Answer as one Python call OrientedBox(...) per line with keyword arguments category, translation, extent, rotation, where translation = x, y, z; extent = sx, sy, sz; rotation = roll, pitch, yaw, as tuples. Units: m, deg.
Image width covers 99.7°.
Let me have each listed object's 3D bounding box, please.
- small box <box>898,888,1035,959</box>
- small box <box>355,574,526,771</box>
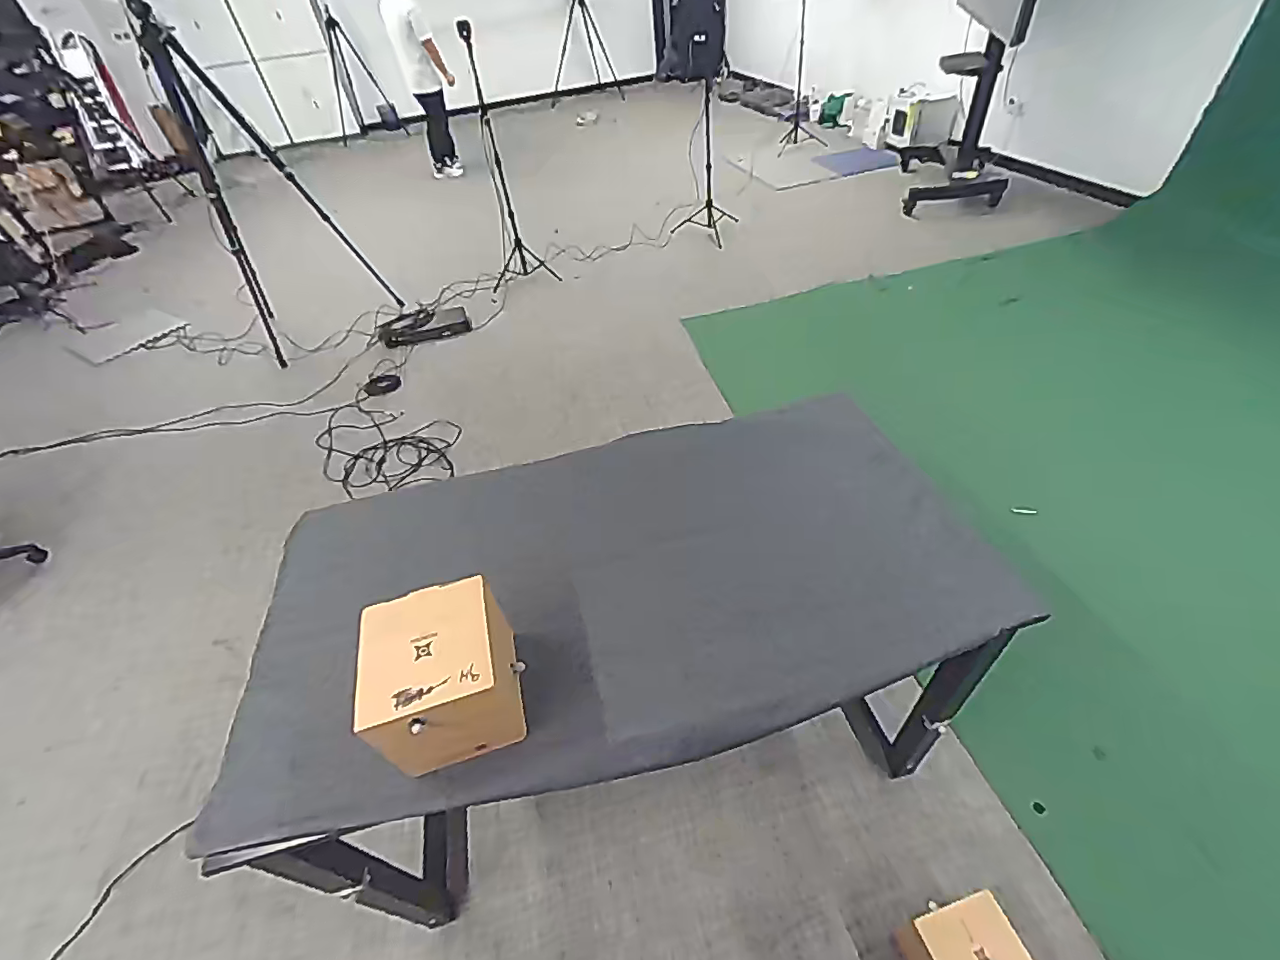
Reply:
OrientedBox(category="small box", translation=(0.618, 0.904, 1.008), extent=(0.168, 0.176, 0.179), rotation=(-16, 44, -7))
OrientedBox(category="small box", translation=(-0.265, 0.265, 0.747), extent=(0.168, 0.176, 0.179), rotation=(-16, 45, -7))
